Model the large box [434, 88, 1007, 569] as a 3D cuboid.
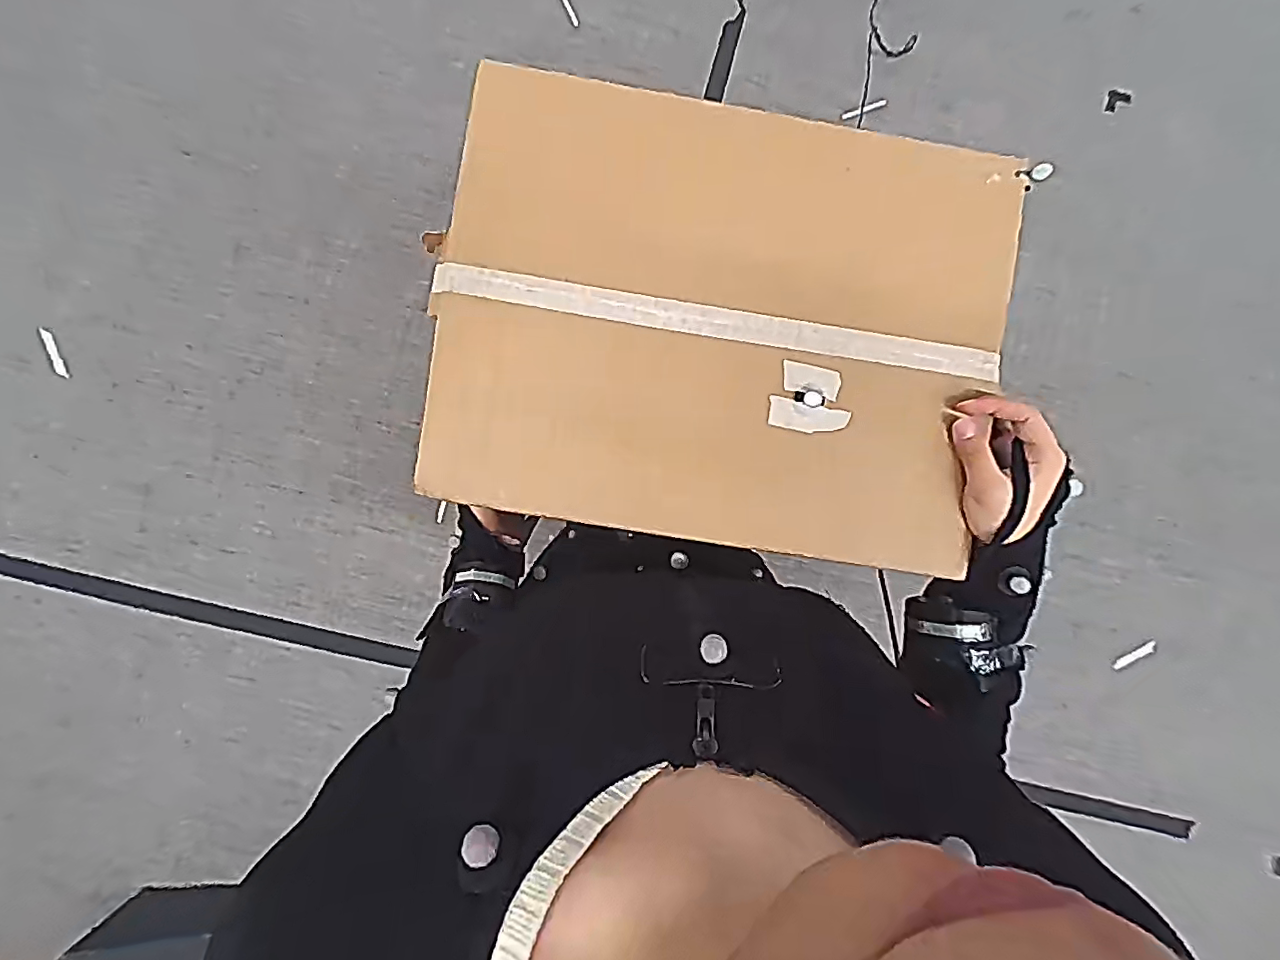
[{"bbox_3d":[0.055,-0.109,0.548,0.408,0.320,0.320,8,91,-3],"label":"large box"}]
